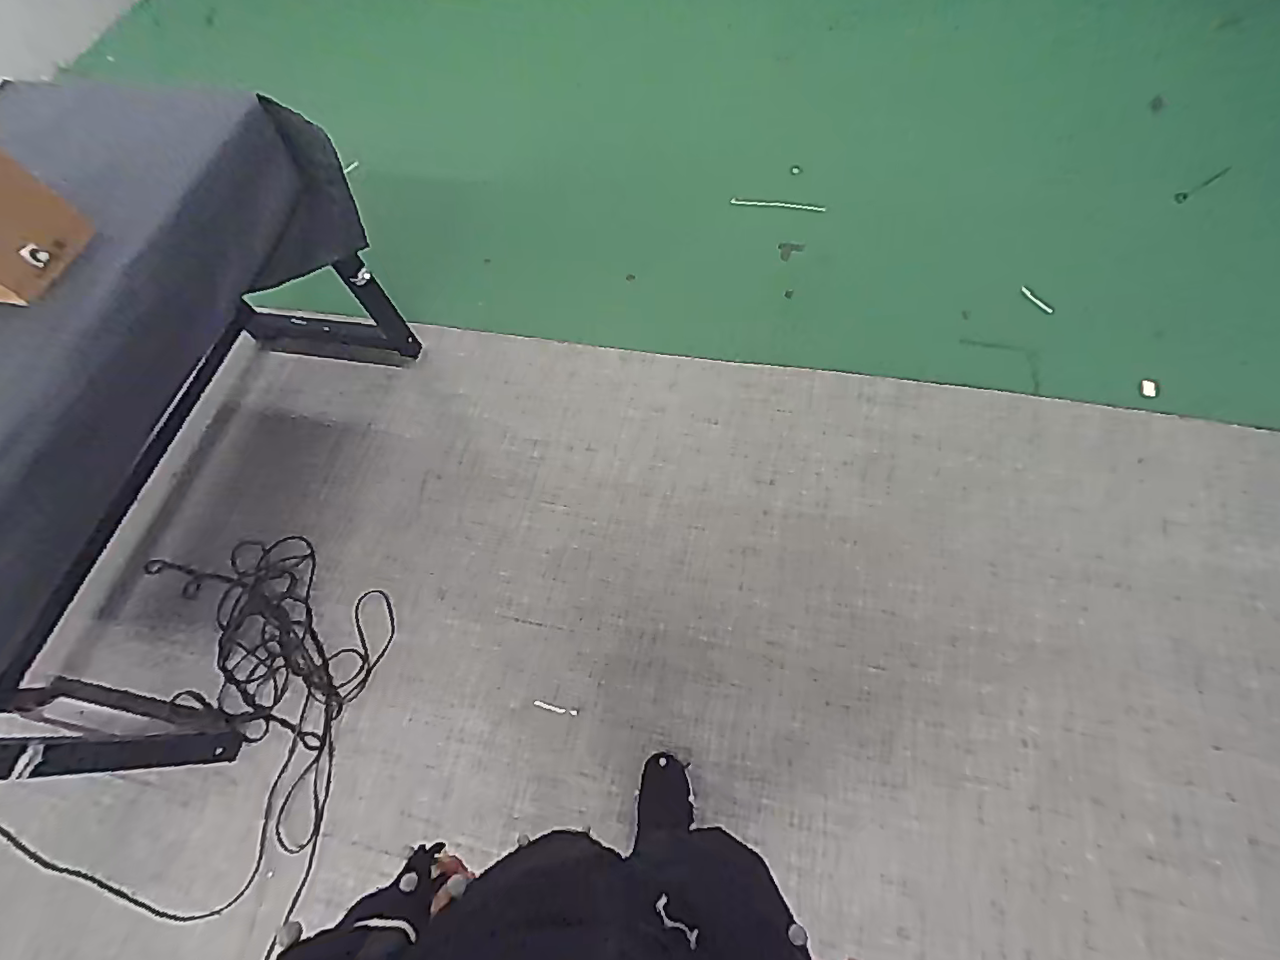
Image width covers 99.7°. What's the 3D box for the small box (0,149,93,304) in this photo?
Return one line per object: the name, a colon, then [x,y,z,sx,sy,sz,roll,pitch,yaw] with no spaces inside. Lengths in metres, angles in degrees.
small box: [-0.990,-0.381,0.790,0.179,0.176,0.168,10,68,9]
